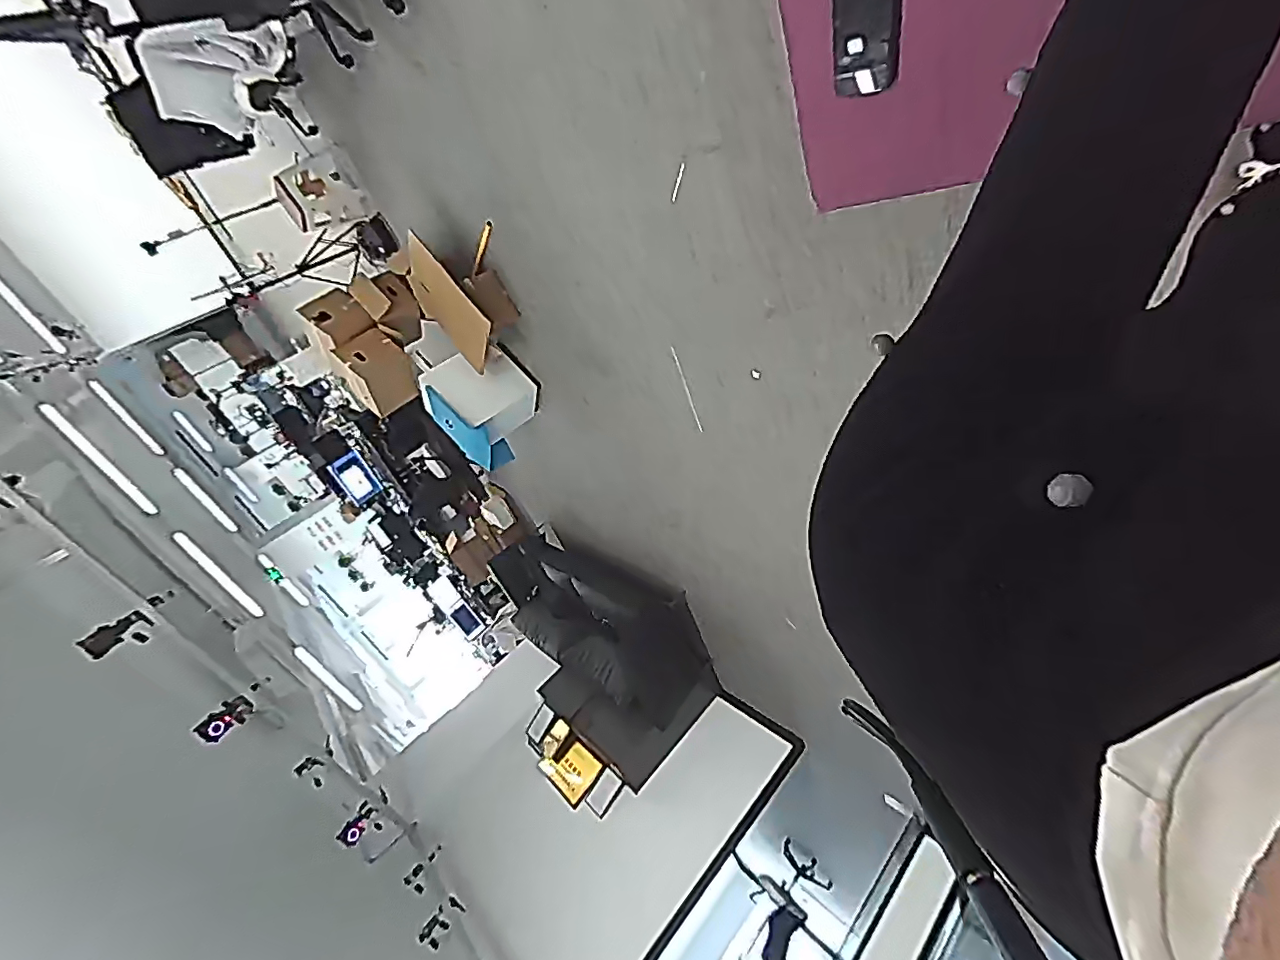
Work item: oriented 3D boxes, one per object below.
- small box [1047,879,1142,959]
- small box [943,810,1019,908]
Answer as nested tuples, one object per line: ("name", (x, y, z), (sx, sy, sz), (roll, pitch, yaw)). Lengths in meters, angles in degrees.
("small box", (1.307, 1.309, 1.557), (0.168, 0.176, 0.179), (19, 139, 45))
("small box", (1.110, 1.227, 1.762), (0.168, 0.176, 0.179), (20, 140, 47))
